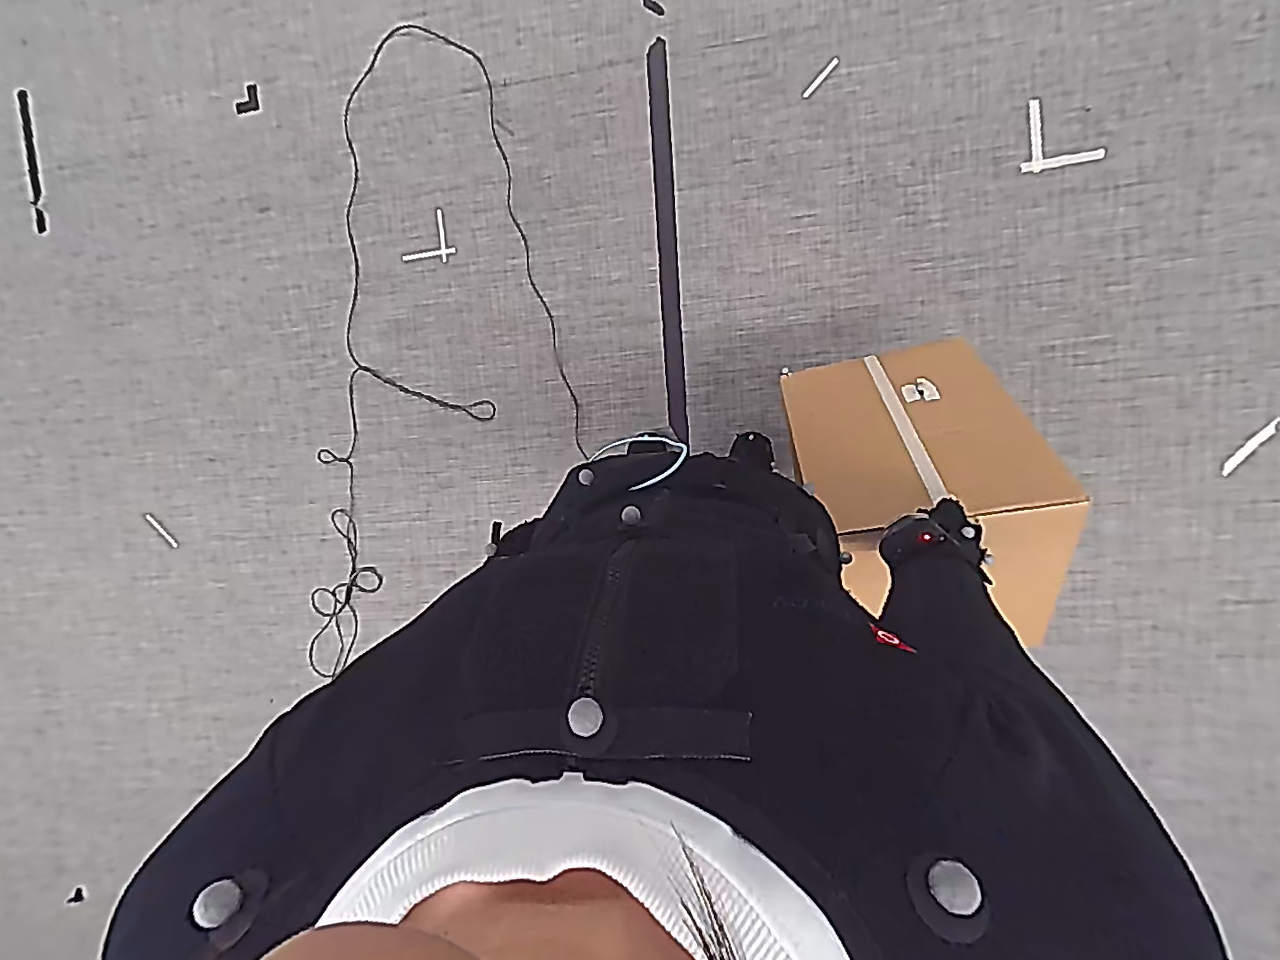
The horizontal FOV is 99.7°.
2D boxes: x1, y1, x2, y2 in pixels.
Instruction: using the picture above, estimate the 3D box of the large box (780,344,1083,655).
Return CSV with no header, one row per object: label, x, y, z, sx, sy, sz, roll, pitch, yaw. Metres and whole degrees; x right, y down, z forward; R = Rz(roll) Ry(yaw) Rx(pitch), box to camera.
large box,0.440,0.028,0.918,0.320,0.408,0.320,-9,129,12
